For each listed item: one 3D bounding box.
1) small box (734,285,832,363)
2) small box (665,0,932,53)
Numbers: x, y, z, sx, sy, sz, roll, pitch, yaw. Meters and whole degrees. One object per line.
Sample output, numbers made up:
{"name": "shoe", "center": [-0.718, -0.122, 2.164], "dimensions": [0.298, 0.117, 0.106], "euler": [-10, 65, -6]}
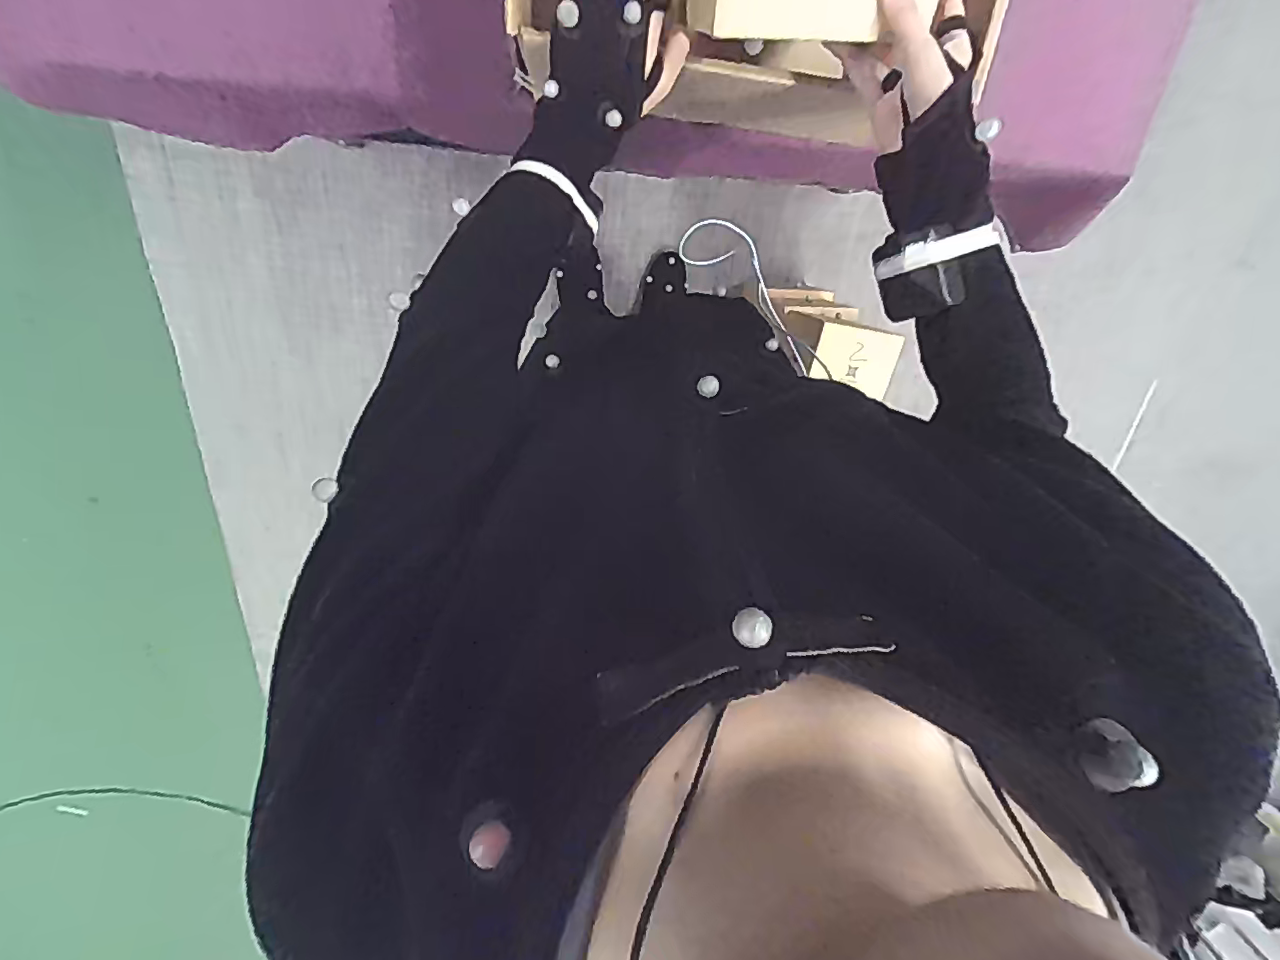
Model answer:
{"name": "small box", "center": [0.354, -0.398, 1.368], "dimensions": [0.179, 0.176, 0.168], "euler": [0, 114, -7]}
{"name": "small box", "center": [0.115, -0.429, 0.391], "dimensions": [0.168, 0.176, 0.179], "euler": [-6, 132, -9]}
